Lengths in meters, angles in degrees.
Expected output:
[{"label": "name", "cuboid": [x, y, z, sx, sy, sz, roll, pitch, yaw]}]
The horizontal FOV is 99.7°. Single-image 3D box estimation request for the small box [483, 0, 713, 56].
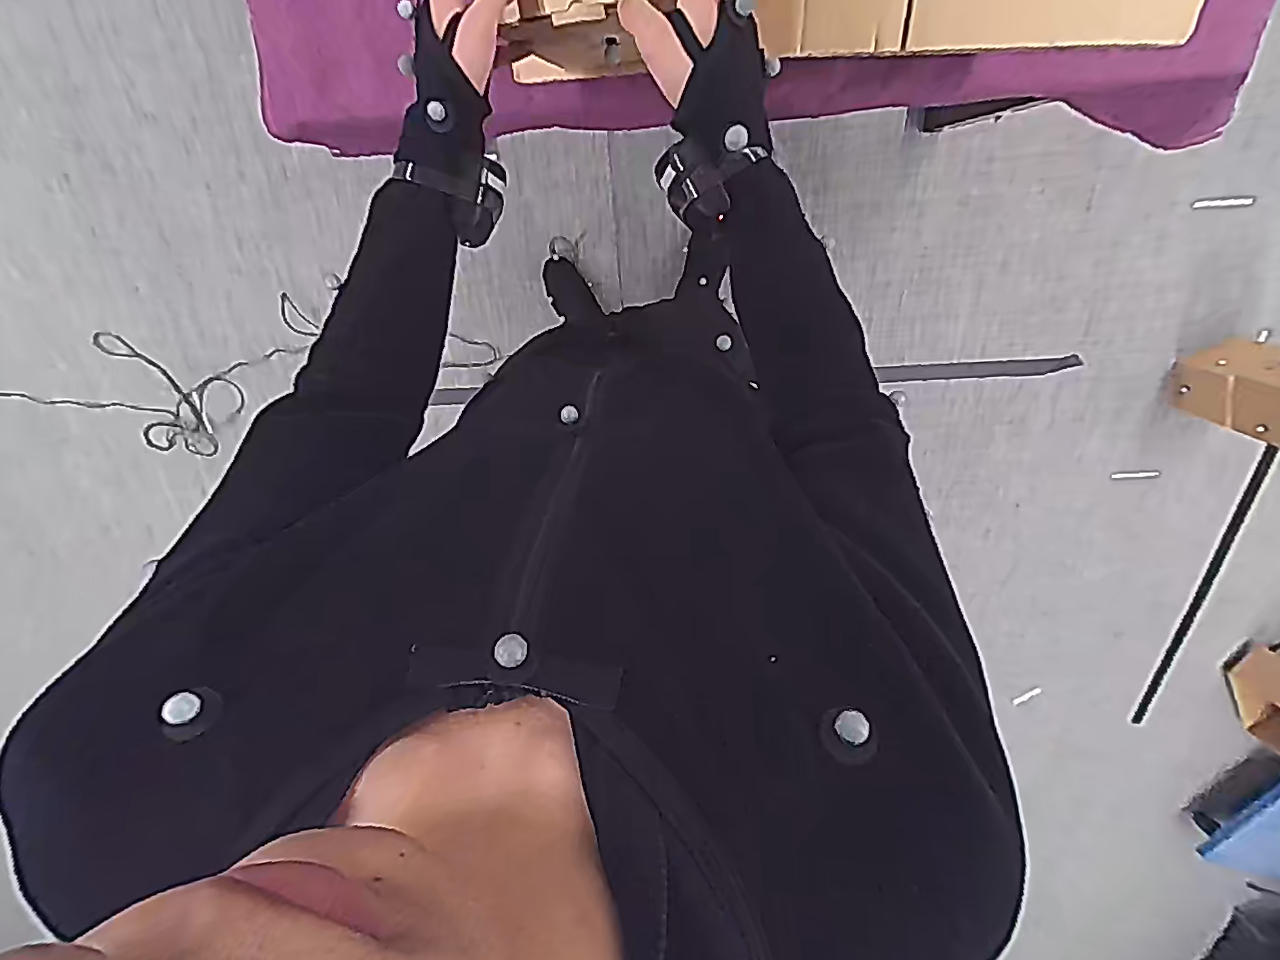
[{"label": "small box", "cuboid": [-0.031, -0.478, 0.451, 0.168, 0.176, 0.179, 4, 119, 15]}]
